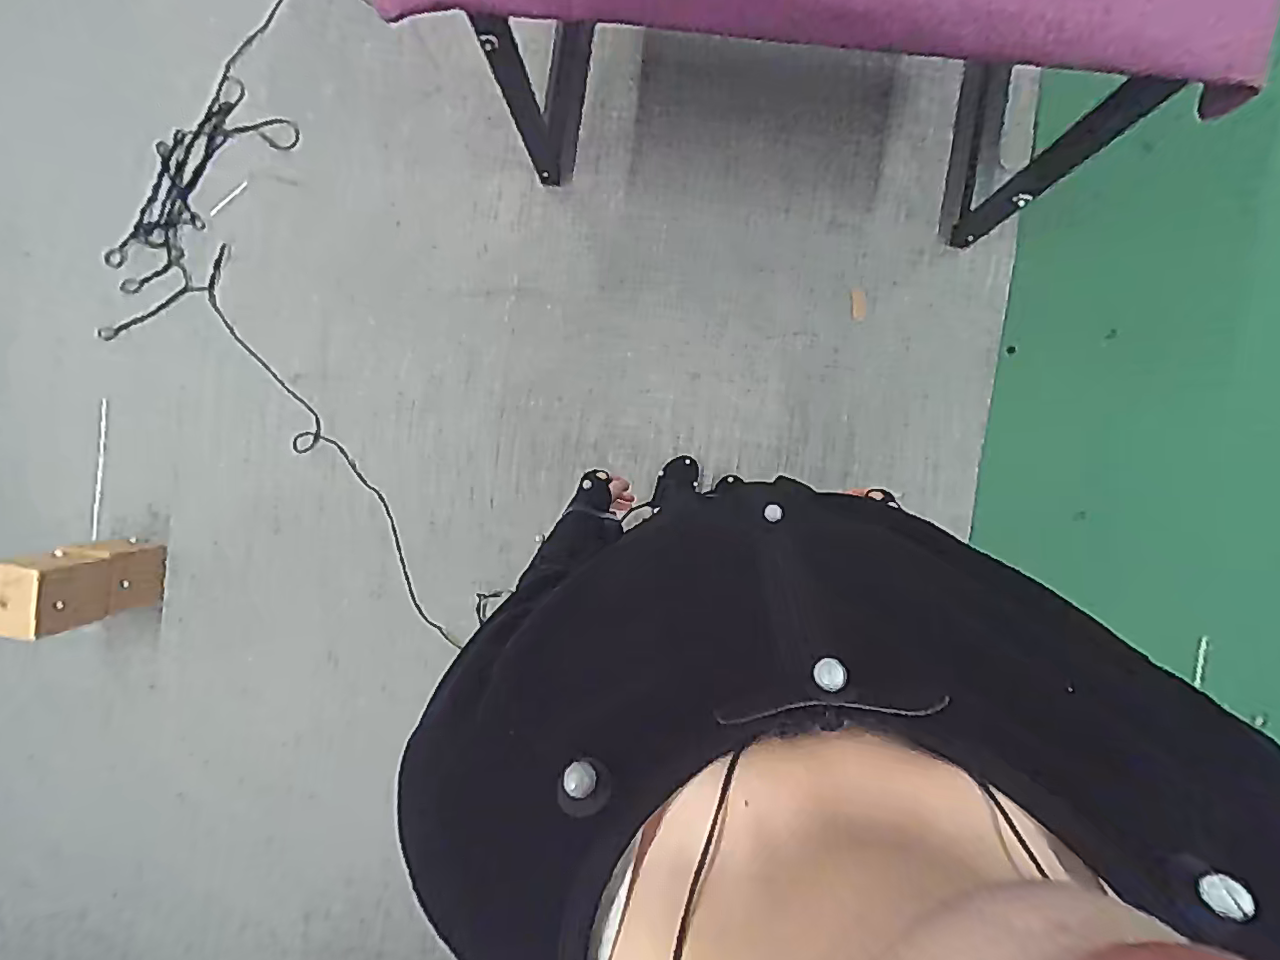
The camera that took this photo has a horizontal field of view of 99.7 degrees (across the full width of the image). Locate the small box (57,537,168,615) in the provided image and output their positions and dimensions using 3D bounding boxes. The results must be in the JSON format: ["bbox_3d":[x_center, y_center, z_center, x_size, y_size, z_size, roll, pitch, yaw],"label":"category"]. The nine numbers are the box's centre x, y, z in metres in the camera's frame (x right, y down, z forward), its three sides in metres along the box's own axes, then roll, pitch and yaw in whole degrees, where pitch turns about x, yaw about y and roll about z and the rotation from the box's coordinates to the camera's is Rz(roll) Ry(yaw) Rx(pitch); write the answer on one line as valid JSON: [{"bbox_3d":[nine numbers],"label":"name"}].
[{"bbox_3d":[-1.489,0.266,1.529,0.168,0.176,0.179,7,91,3],"label":"small box"}]

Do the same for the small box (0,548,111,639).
[{"bbox_3d":[-1.500,0.280,1.365,0.168,0.176,0.179,7,92,2],"label":"small box"}]
